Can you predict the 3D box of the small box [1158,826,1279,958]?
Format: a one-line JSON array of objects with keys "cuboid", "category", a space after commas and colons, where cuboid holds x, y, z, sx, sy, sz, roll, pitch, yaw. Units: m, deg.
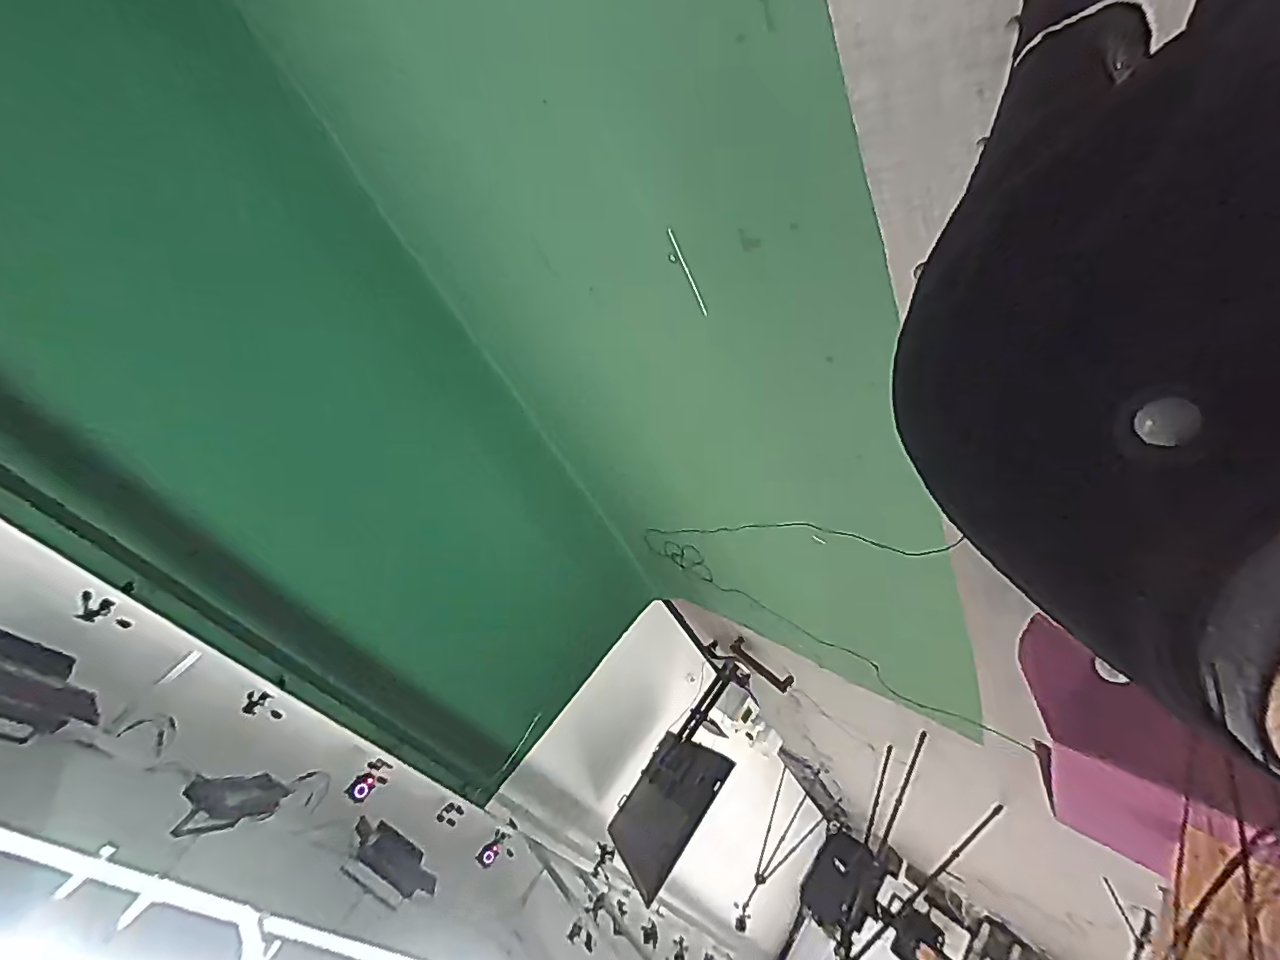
[{"cuboid": [1.357, 0.957, 1.268, 0.168, 0.176, 0.179, 17, 148, 46], "category": "small box"}]
